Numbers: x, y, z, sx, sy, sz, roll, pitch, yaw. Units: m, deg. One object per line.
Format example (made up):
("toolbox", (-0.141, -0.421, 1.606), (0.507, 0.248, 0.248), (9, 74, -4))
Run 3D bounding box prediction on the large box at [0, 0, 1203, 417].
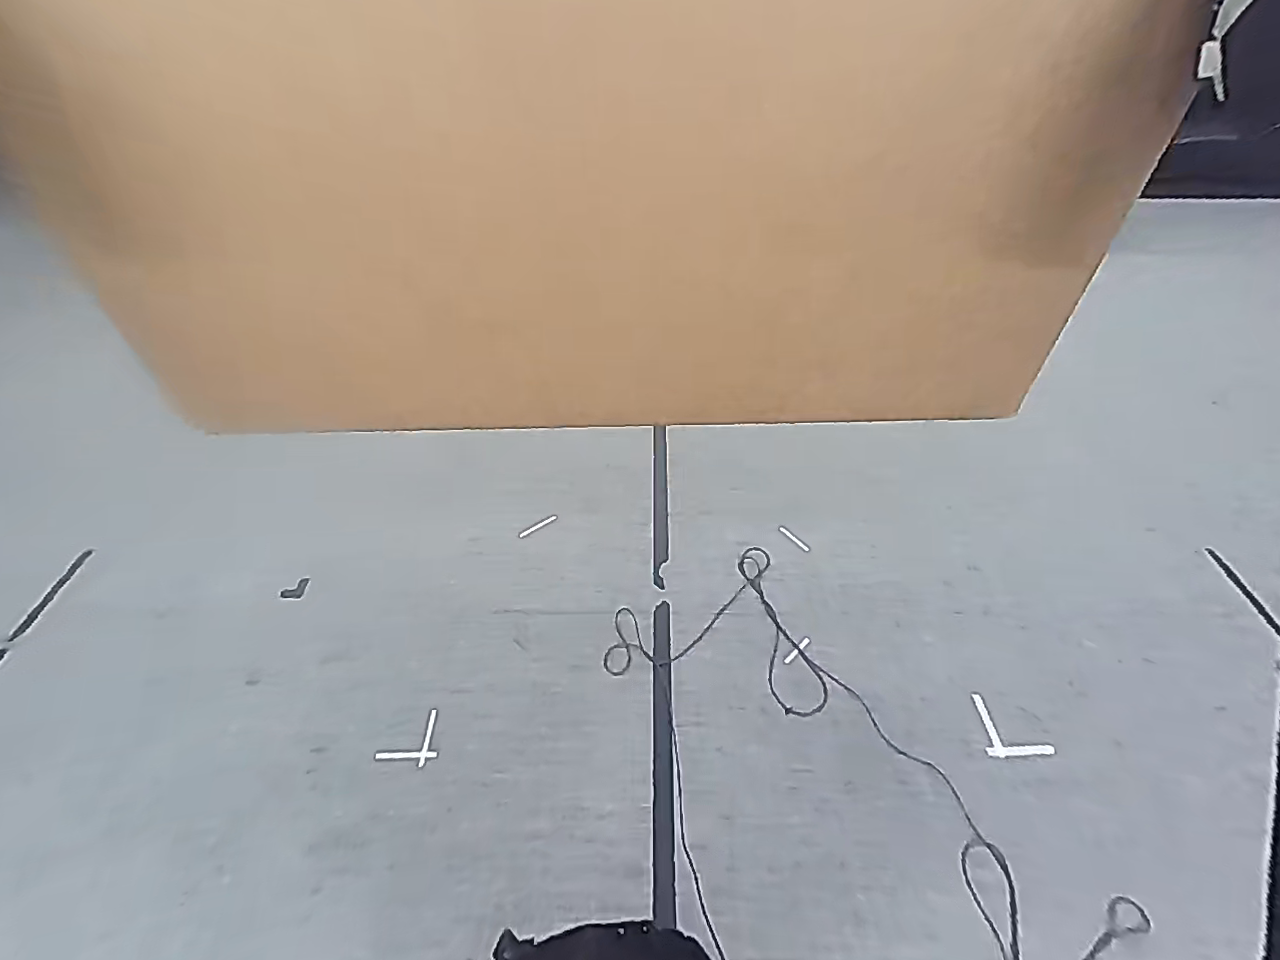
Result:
("large box", (-0.017, -0.245, 0.288), (0.408, 0.320, 0.320), (-1, 43, -2))
